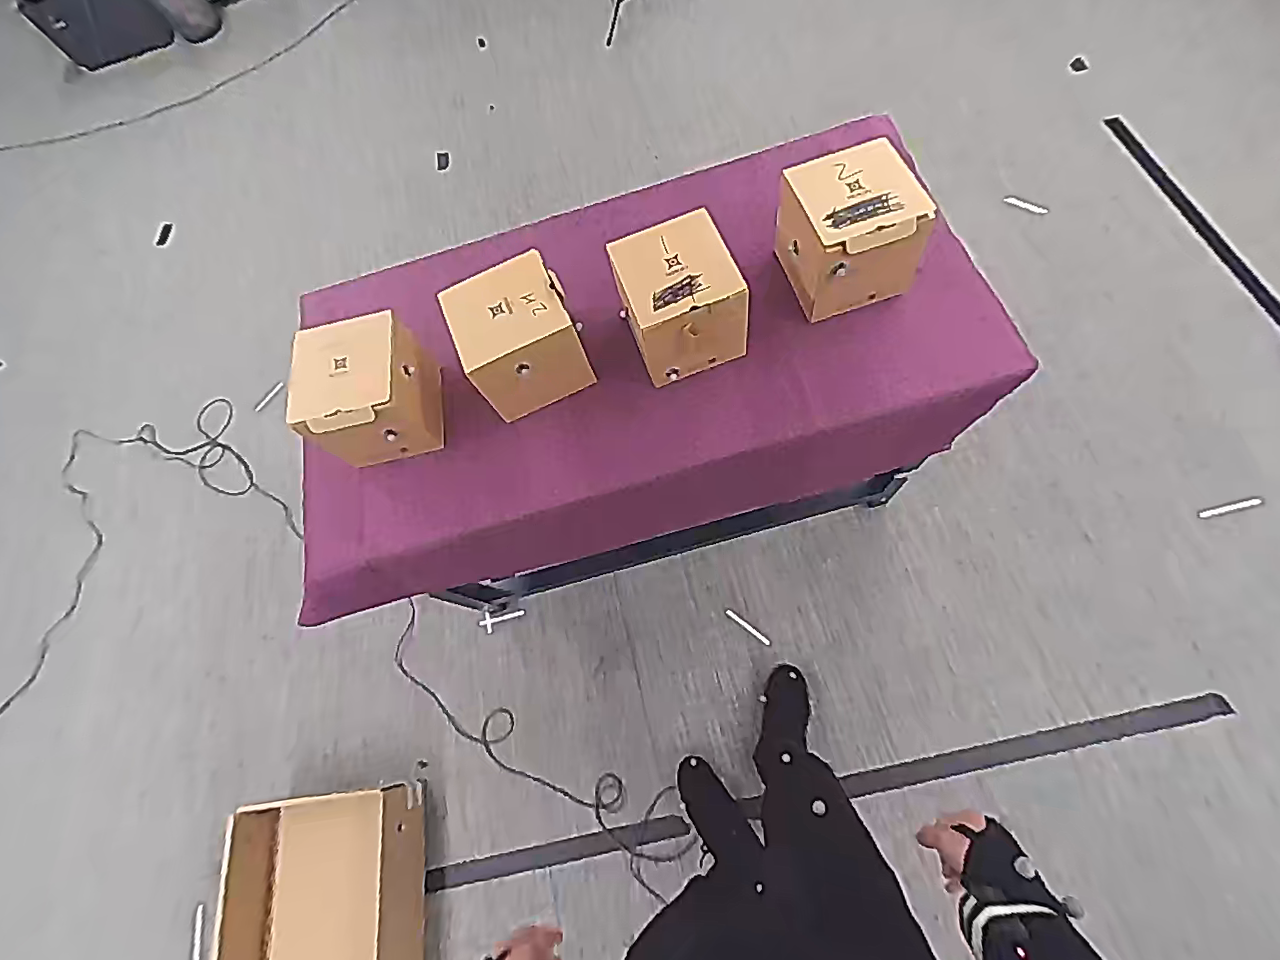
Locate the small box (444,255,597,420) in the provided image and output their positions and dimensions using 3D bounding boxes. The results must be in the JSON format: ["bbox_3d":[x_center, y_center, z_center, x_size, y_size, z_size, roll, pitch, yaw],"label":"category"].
[{"bbox_3d":[-0.190,-0.226,0.896,0.179,0.176,0.168,-24,68,-1],"label":"small box"}]

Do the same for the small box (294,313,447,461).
[{"bbox_3d":[-0.437,-0.143,0.904,0.168,0.176,0.179,-11,68,4],"label":"small box"}]

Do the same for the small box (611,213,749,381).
[{"bbox_3d":[0.069,-0.282,0.877,0.168,0.176,0.179,-20,67,1],"label":"small box"}]
